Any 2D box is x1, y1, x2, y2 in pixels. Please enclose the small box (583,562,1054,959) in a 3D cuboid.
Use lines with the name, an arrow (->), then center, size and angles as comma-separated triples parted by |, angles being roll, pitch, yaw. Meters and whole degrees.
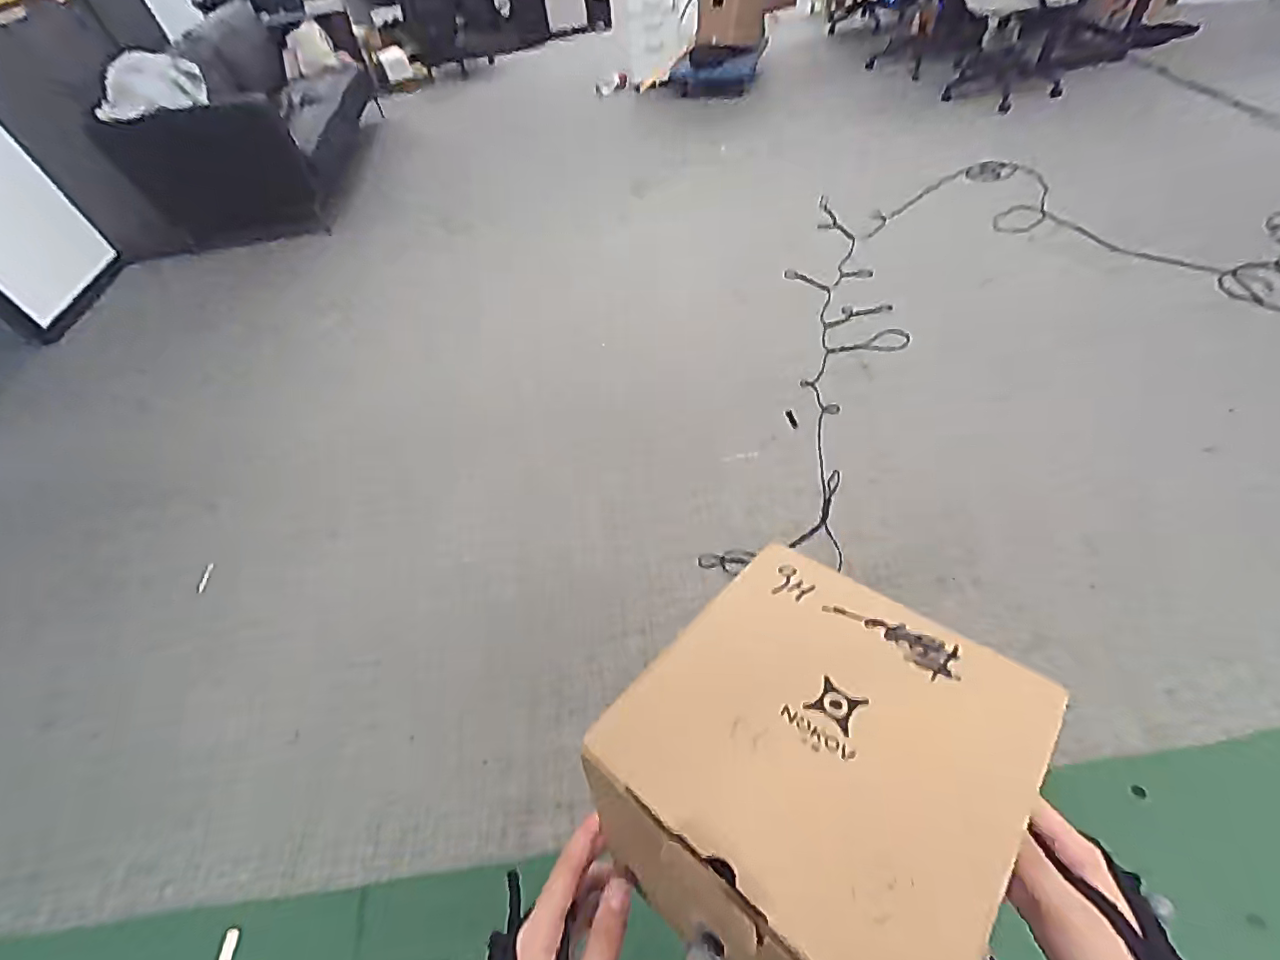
small box -> 0.095, 0.189, 0.314 | 0.168, 0.176, 0.179 | 27, 49, 34
